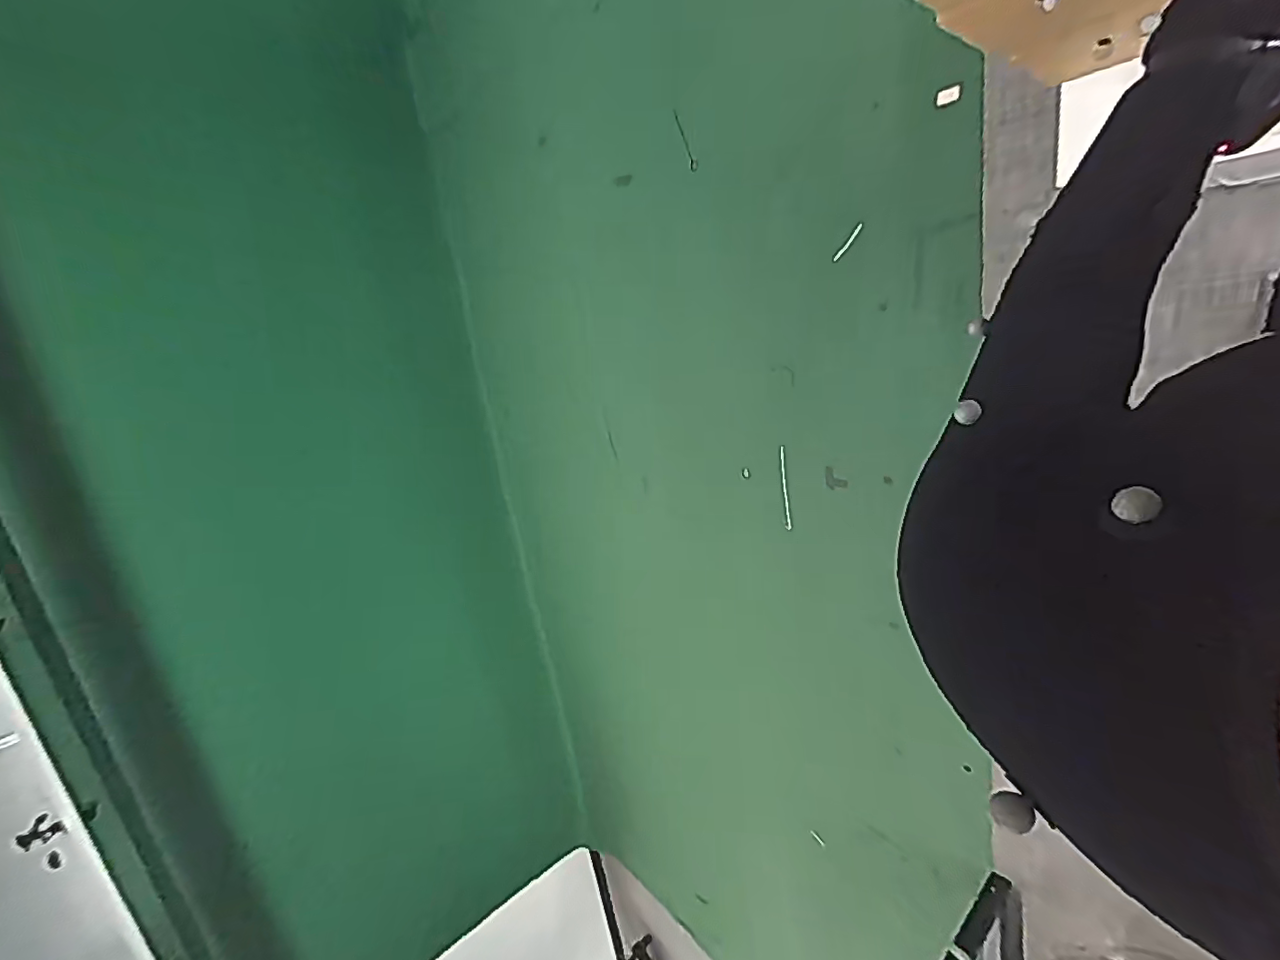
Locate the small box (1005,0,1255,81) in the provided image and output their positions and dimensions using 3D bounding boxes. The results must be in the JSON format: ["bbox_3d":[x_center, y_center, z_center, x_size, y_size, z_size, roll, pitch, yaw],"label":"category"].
[{"bbox_3d":[0.498,-0.535,0.542,0.179,0.176,0.168,10,115,49],"label":"small box"}]

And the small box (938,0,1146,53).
[{"bbox_3d":[0.371,-0.493,0.443,0.179,0.176,0.168,9,114,49],"label":"small box"}]
